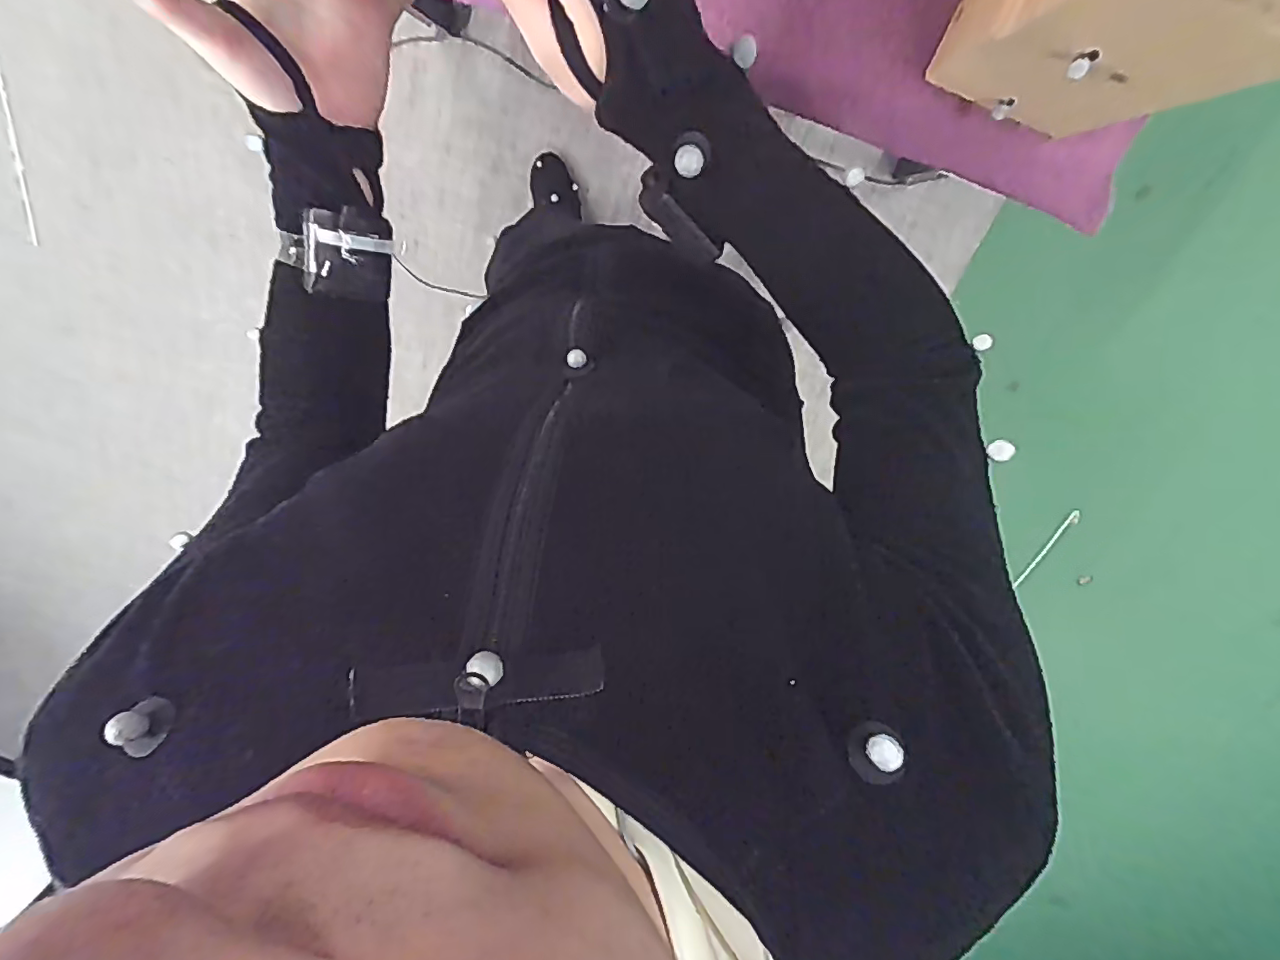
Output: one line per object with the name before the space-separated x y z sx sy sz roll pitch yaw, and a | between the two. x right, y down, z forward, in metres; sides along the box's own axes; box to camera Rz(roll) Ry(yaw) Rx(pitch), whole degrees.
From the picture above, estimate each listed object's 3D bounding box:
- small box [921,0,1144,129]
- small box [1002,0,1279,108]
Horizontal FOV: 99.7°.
small box | 0.424 -0.474 0.535 0.179 0.176 0.168 21 115 -3
small box | 0.410 -0.407 0.386 0.168 0.176 0.179 22 116 -2
